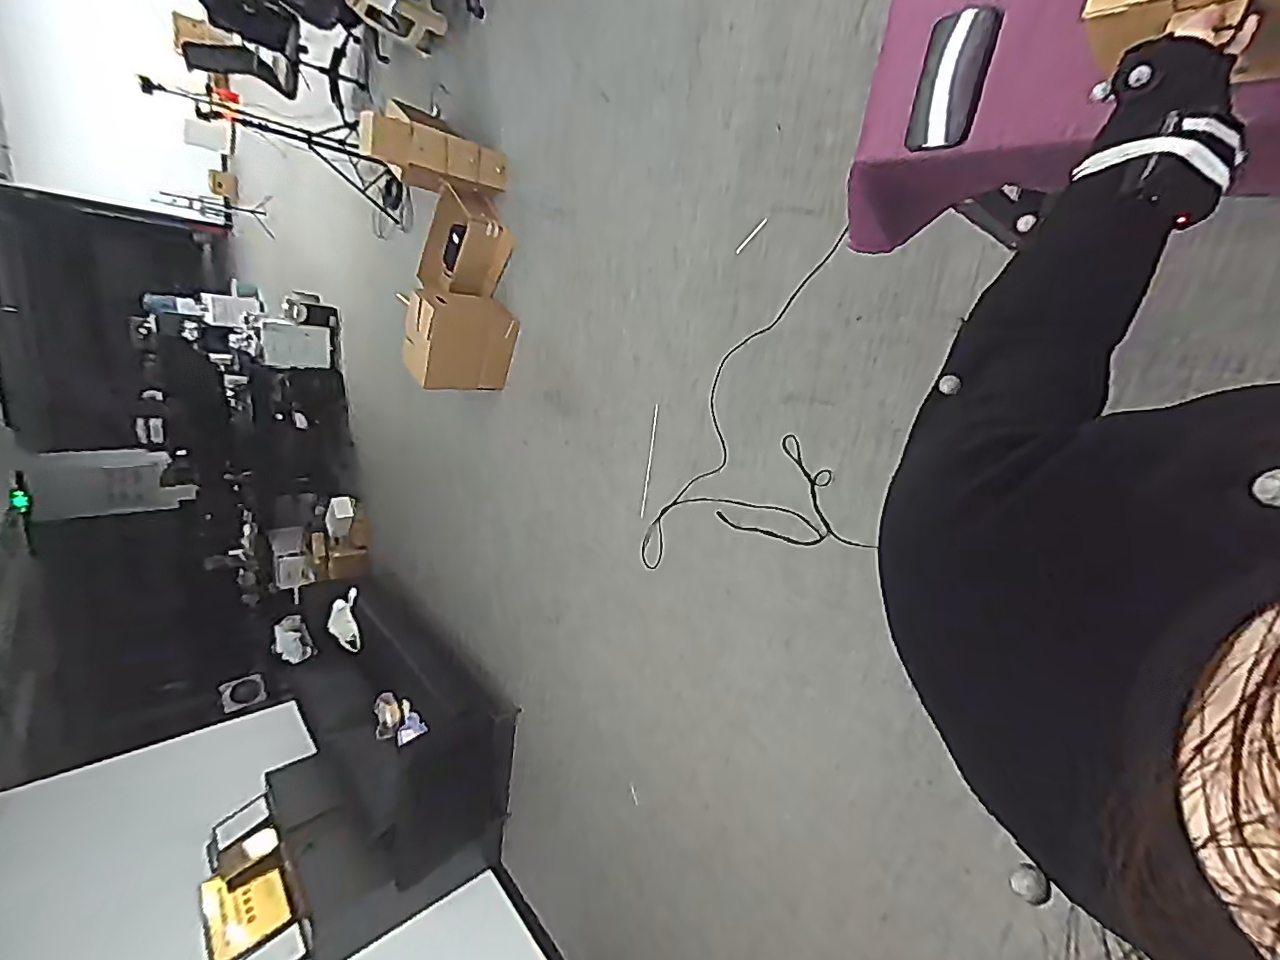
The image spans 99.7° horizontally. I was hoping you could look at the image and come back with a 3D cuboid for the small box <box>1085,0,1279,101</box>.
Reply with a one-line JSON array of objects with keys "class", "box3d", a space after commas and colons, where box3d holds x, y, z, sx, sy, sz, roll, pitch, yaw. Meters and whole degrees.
[{"class": "small box", "box3d": [0.520, -0.465, 0.461, 0.168, 0.176, 0.179, 25, 112, 41]}]
